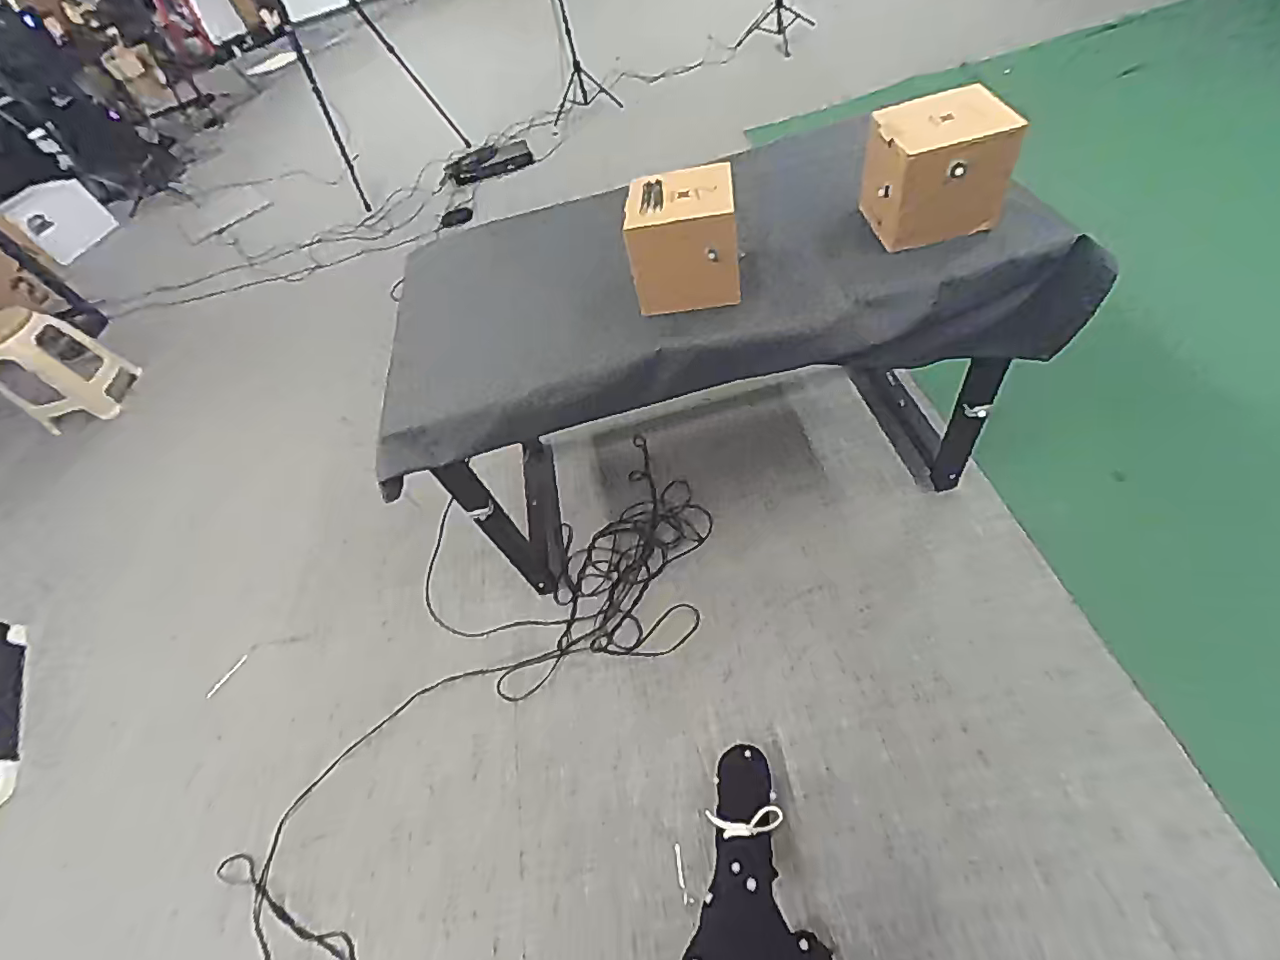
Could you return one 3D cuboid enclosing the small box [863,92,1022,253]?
[{"bbox_3d":[0.489,-0.510,0.912,0.179,0.176,0.168,-11,53,6],"label":"small box"}]
